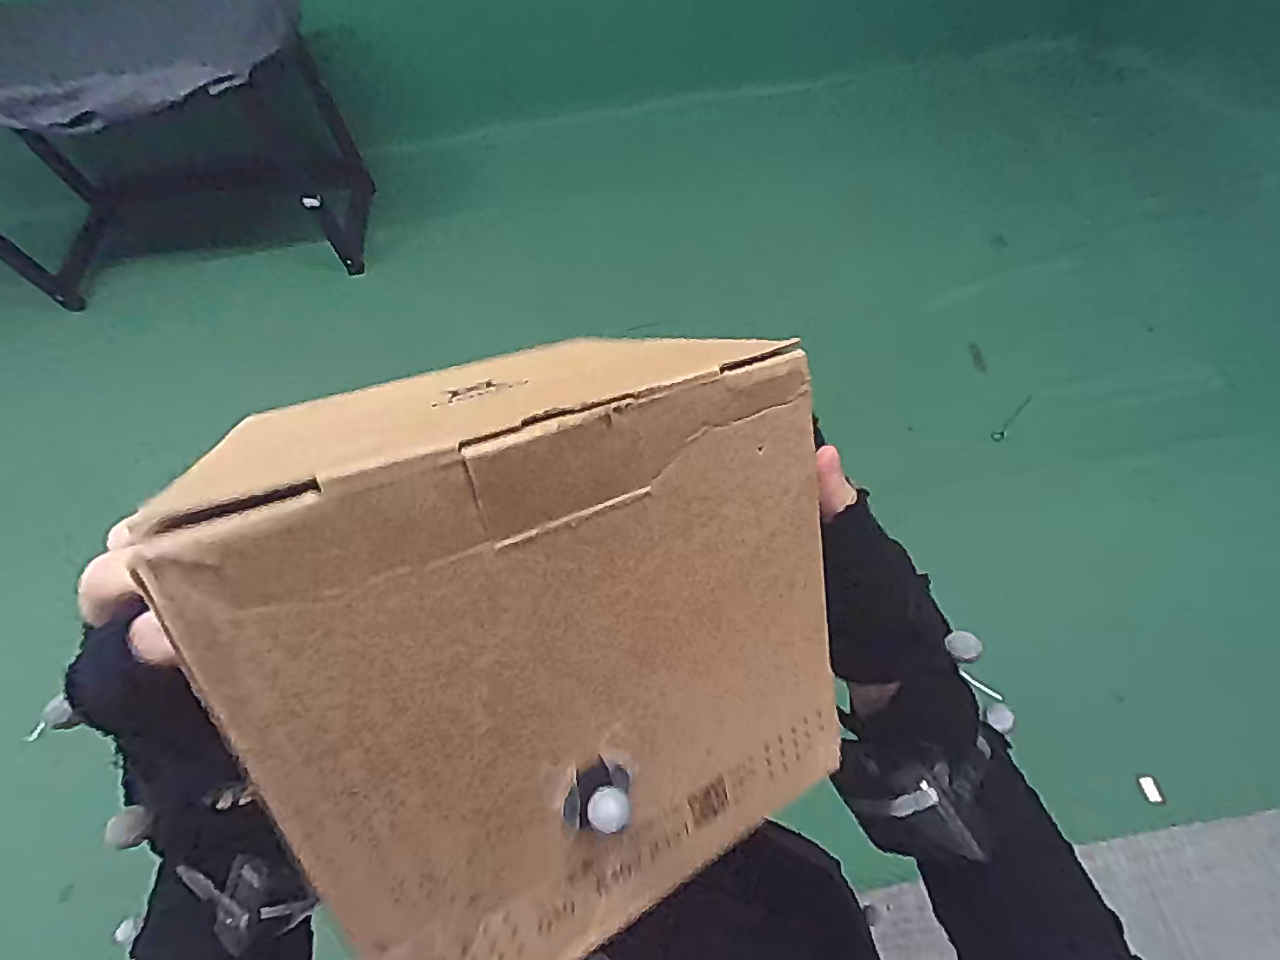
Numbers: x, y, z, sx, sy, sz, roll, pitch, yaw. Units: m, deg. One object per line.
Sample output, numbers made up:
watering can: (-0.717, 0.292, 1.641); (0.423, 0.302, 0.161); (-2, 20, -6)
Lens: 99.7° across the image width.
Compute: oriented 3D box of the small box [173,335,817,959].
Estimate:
small box: (-0.046, 0.041, 0.235); (0.168, 0.176, 0.179); (-21, 25, -22)
